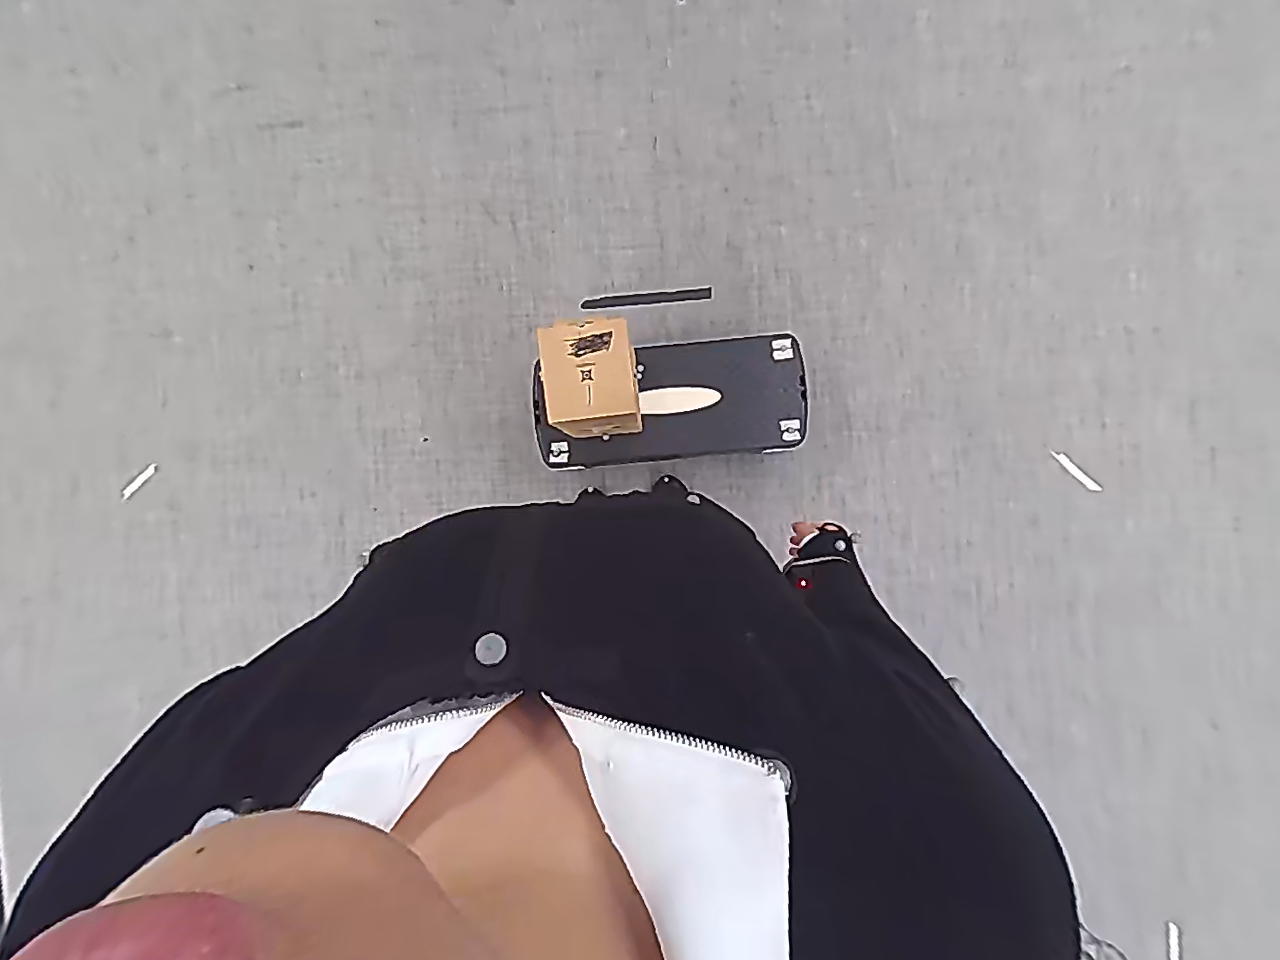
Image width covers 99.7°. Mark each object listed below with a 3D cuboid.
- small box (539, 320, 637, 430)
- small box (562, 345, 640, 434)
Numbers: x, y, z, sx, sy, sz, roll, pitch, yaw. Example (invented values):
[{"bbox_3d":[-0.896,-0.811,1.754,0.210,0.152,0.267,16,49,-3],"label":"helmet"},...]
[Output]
[{"bbox_3d":[-0.095,-0.197,1.058,0.168,0.176,0.179,-6,91,1],"label":"small box"},{"bbox_3d":[-0.089,-0.194,1.222,0.168,0.176,0.179,-5,91,2],"label":"small box"}]
